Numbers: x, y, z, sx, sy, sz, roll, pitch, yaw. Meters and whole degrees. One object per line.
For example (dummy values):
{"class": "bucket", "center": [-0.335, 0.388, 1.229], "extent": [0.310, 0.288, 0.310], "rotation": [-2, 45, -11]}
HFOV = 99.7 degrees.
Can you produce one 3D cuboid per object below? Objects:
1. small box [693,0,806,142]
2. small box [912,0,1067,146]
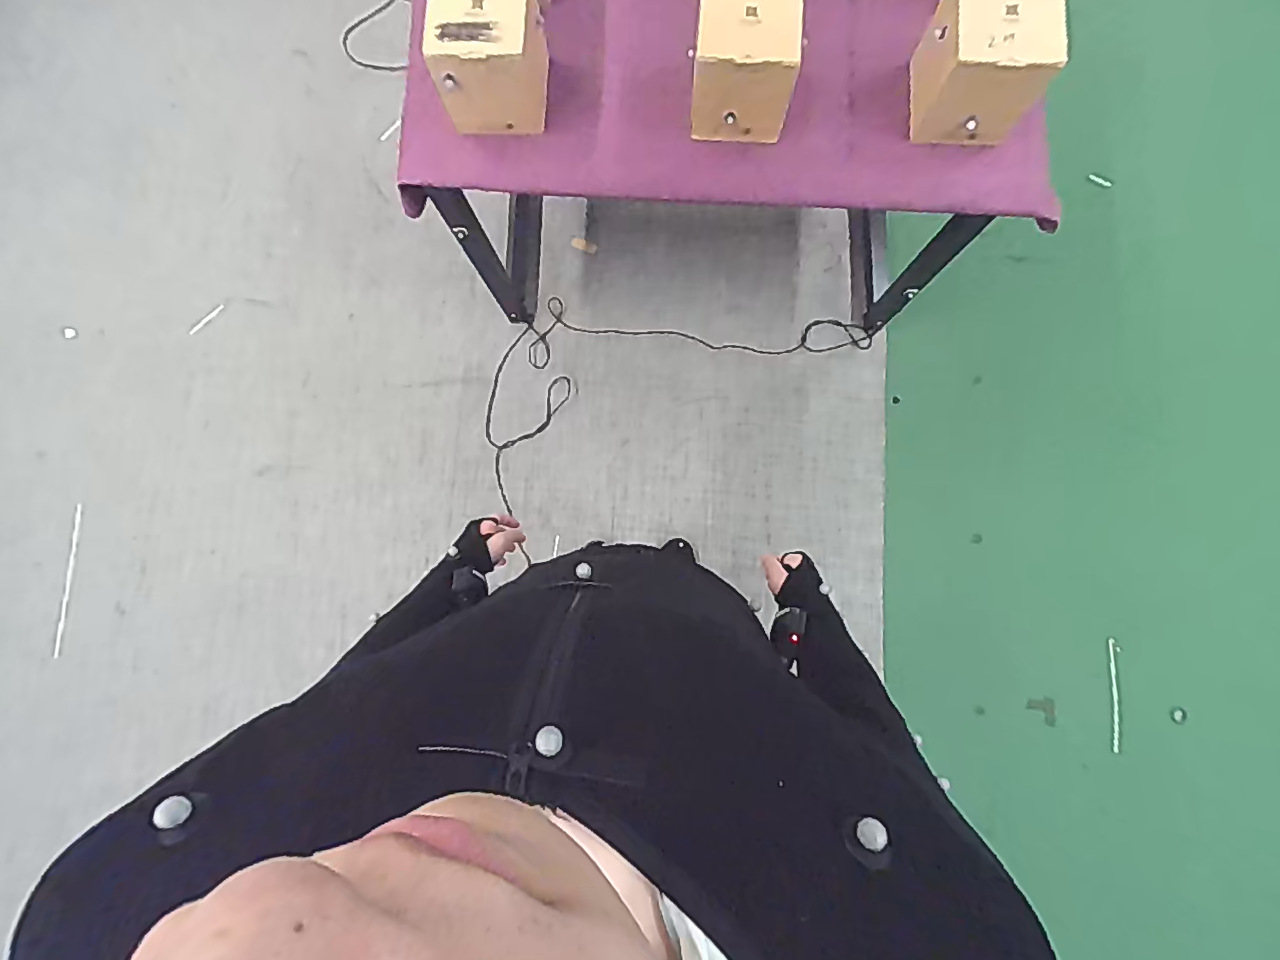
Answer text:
{"class": "small box", "center": [0.183, -0.735, 0.944], "extent": [0.168, 0.176, 0.179], "rotation": [4, 83, 2]}
{"class": "small box", "center": [0.587, -0.717, 0.927], "extent": [0.168, 0.176, 0.179], "rotation": [5, 82, 3]}
